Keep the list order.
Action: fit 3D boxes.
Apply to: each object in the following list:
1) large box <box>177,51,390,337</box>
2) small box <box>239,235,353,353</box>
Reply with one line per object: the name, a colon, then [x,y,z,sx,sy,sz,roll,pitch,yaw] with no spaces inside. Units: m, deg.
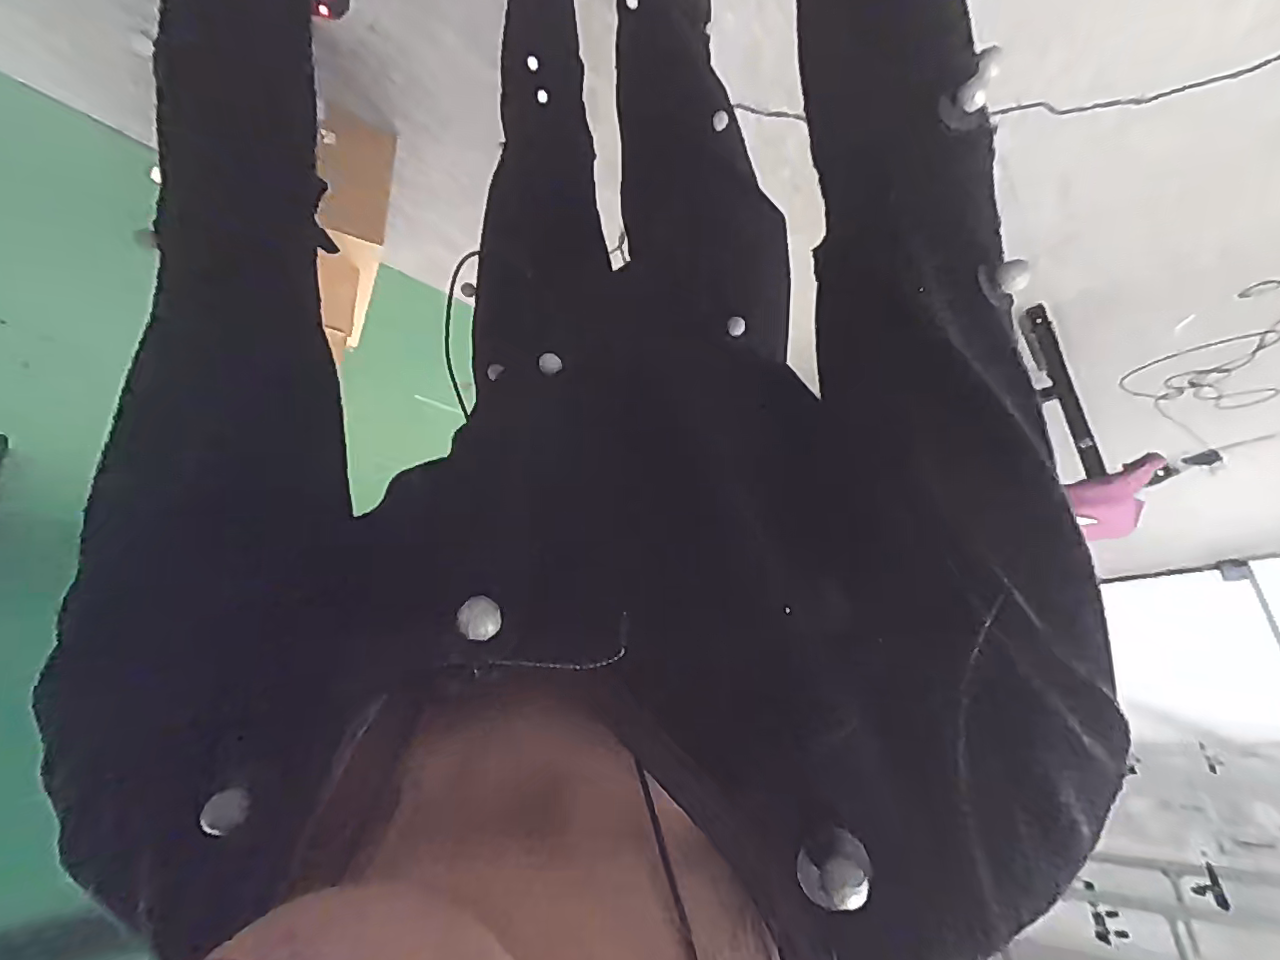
large box: [-0.753,-0.581,1.179,0.320,0.320,0.408,10,157,-32]
small box: [-0.697,-0.355,1.091,0.179,0.176,0.168,12,154,-37]
